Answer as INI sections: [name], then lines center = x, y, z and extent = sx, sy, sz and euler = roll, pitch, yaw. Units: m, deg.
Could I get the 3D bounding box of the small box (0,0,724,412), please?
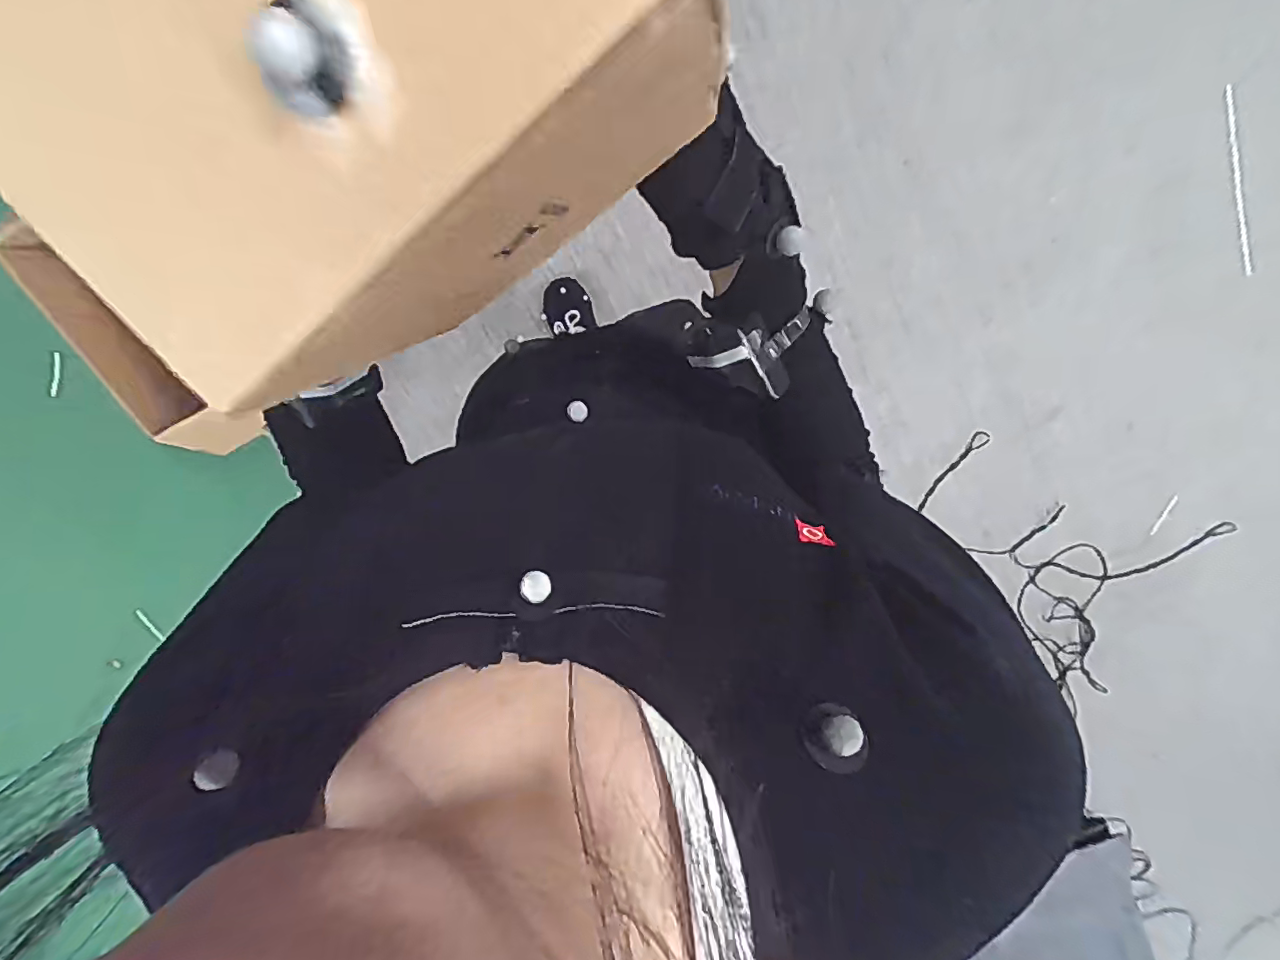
[small box]
center = -0.092, -0.158, 0.190
extent = 0.179, 0.168, 0.176
euler = -32, 107, 18
